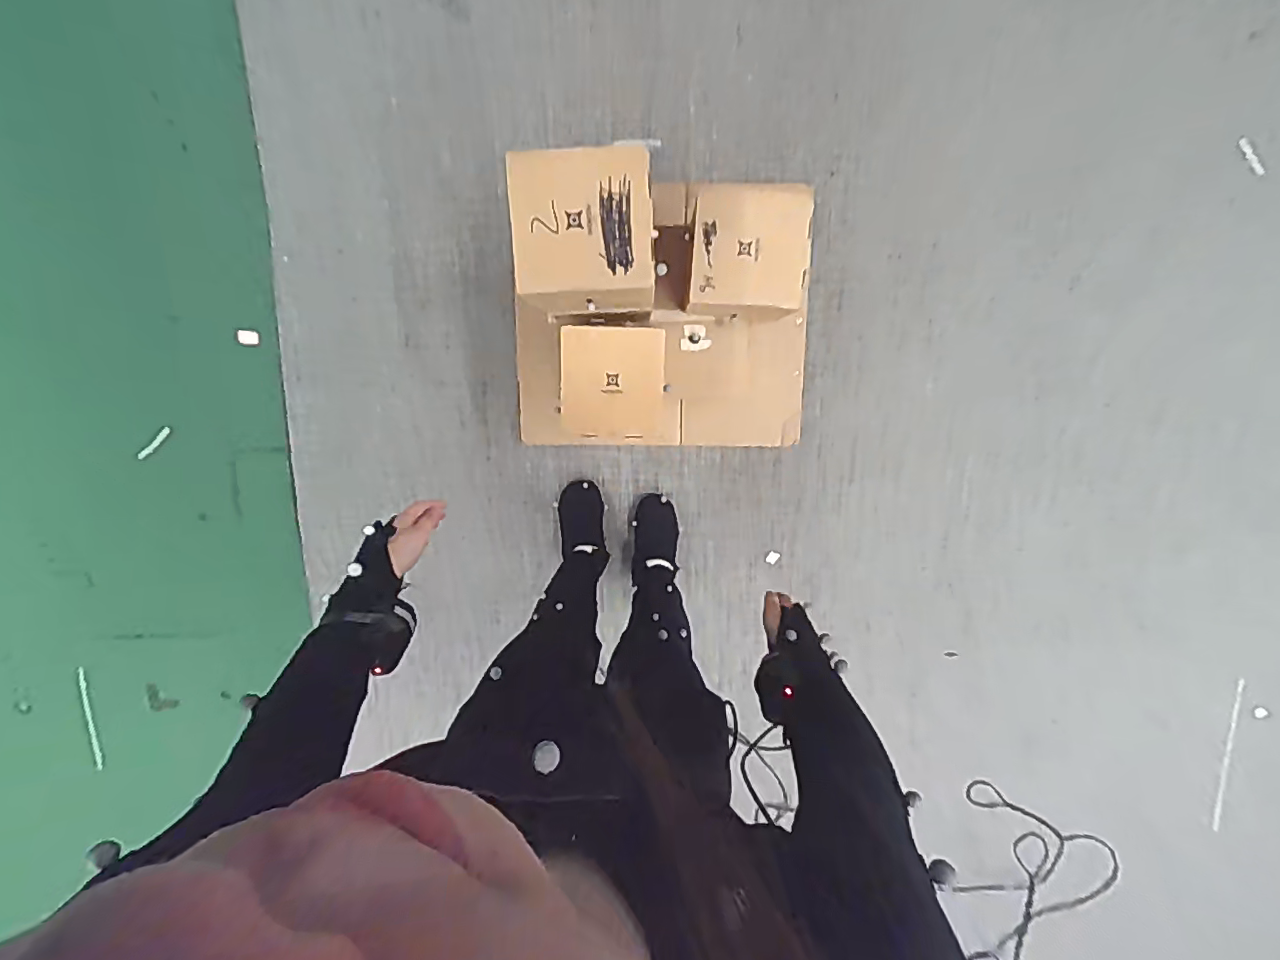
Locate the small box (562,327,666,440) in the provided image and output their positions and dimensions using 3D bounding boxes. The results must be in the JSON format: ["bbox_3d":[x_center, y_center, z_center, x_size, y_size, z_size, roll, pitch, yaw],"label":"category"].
[{"bbox_3d":[-0.045,-0.166,0.937,0.168,0.176,0.179,1,102,-1],"label":"small box"}]

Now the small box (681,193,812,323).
[{"bbox_3d":[0.167,-0.359,0.902,0.179,0.176,0.168,4,101,1],"label":"small box"}]
